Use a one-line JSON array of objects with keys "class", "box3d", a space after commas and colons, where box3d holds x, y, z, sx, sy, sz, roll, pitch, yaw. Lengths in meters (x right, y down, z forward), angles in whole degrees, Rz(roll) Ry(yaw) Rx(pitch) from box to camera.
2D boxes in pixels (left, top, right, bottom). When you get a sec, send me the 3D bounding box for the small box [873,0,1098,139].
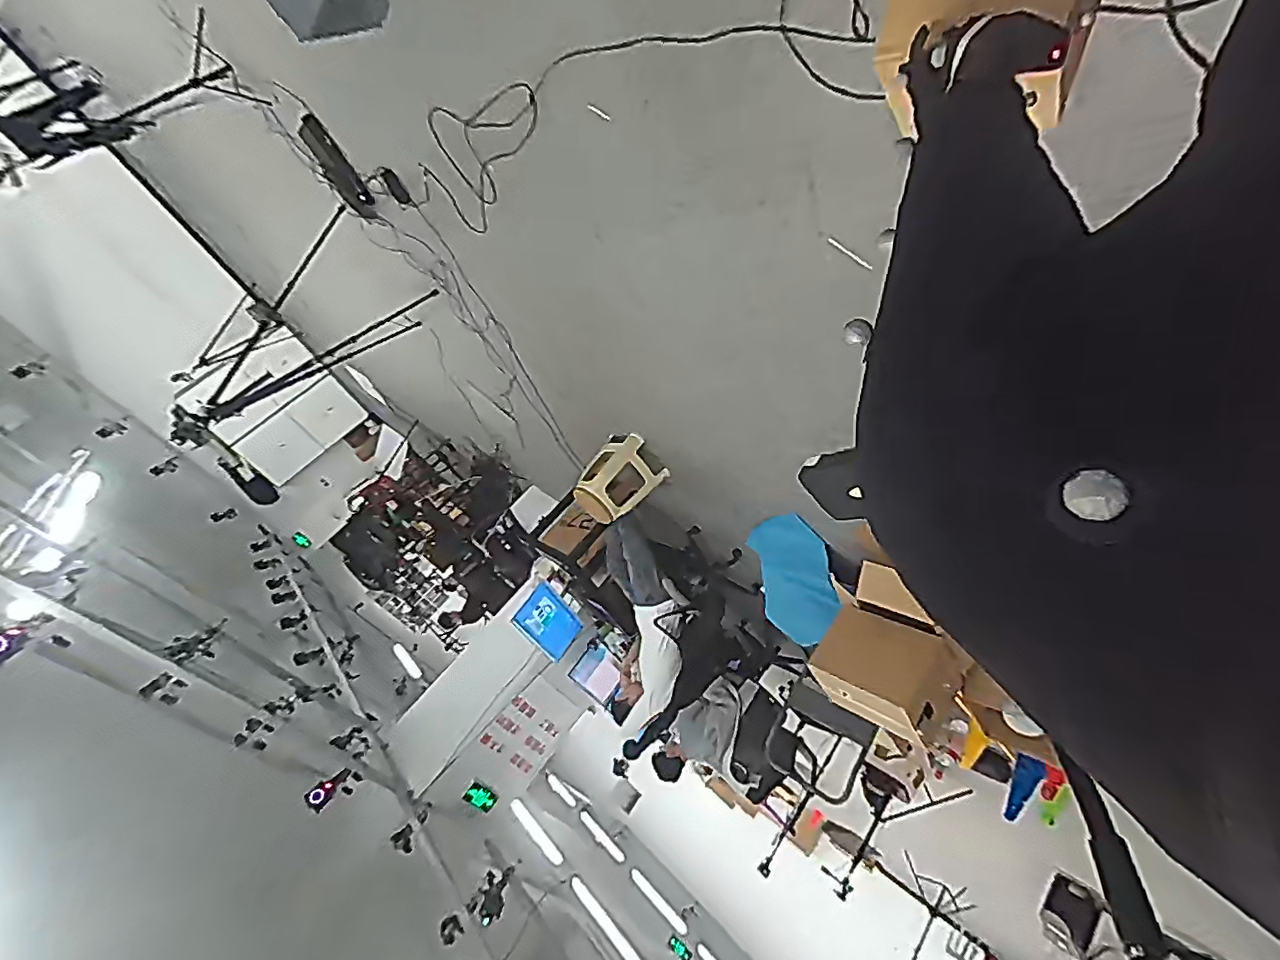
[{"class": "small box", "box3d": [0.369, -0.490, 0.564, 0.168, 0.176, 0.179, 19, -166, 35]}]
